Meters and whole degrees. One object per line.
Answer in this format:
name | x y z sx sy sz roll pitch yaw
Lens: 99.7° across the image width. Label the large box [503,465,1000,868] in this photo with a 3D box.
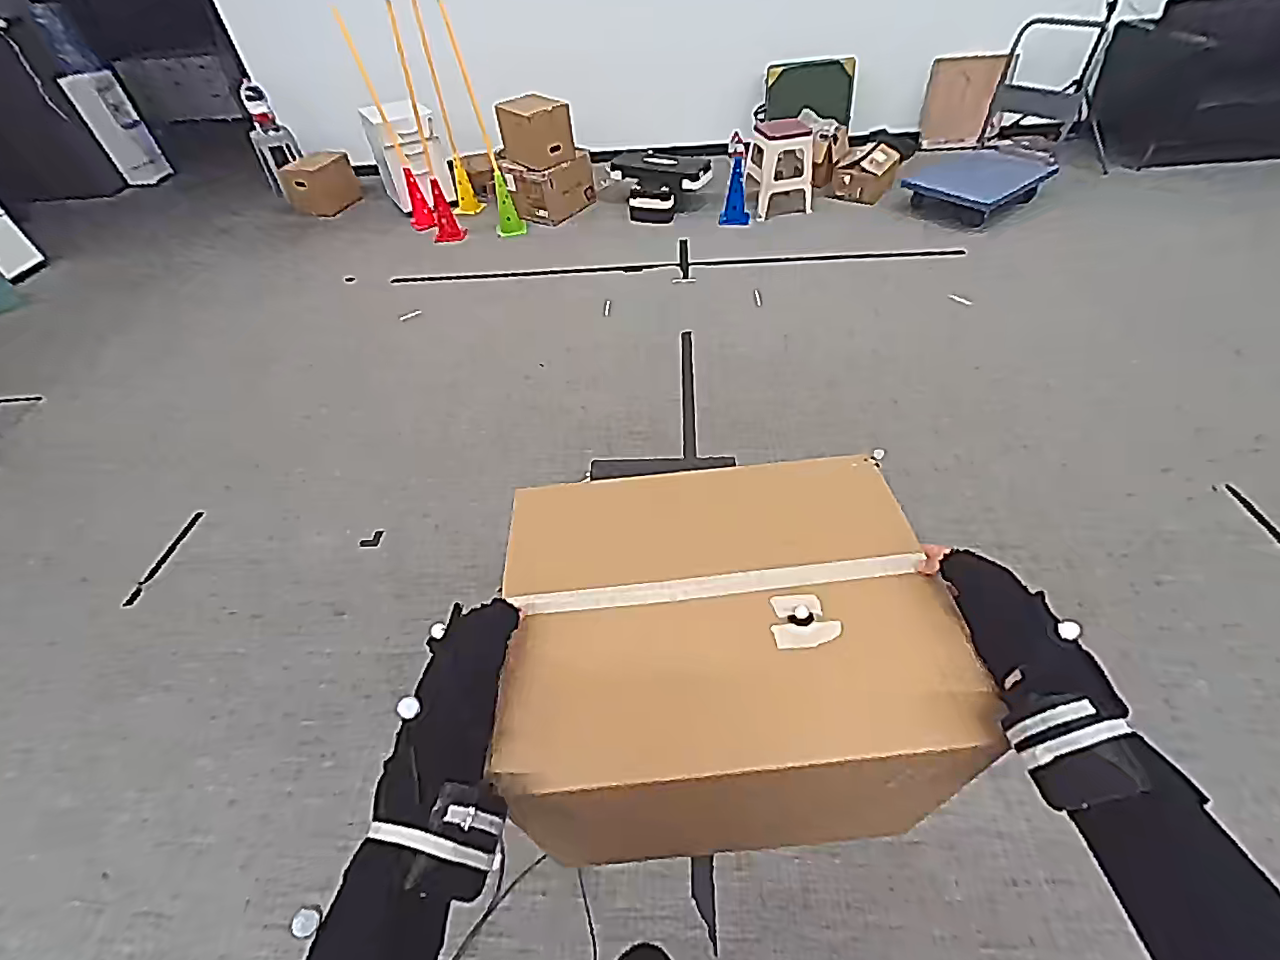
large box | 0.084 0.216 0.629 0.408 0.320 0.320 -6 46 0
